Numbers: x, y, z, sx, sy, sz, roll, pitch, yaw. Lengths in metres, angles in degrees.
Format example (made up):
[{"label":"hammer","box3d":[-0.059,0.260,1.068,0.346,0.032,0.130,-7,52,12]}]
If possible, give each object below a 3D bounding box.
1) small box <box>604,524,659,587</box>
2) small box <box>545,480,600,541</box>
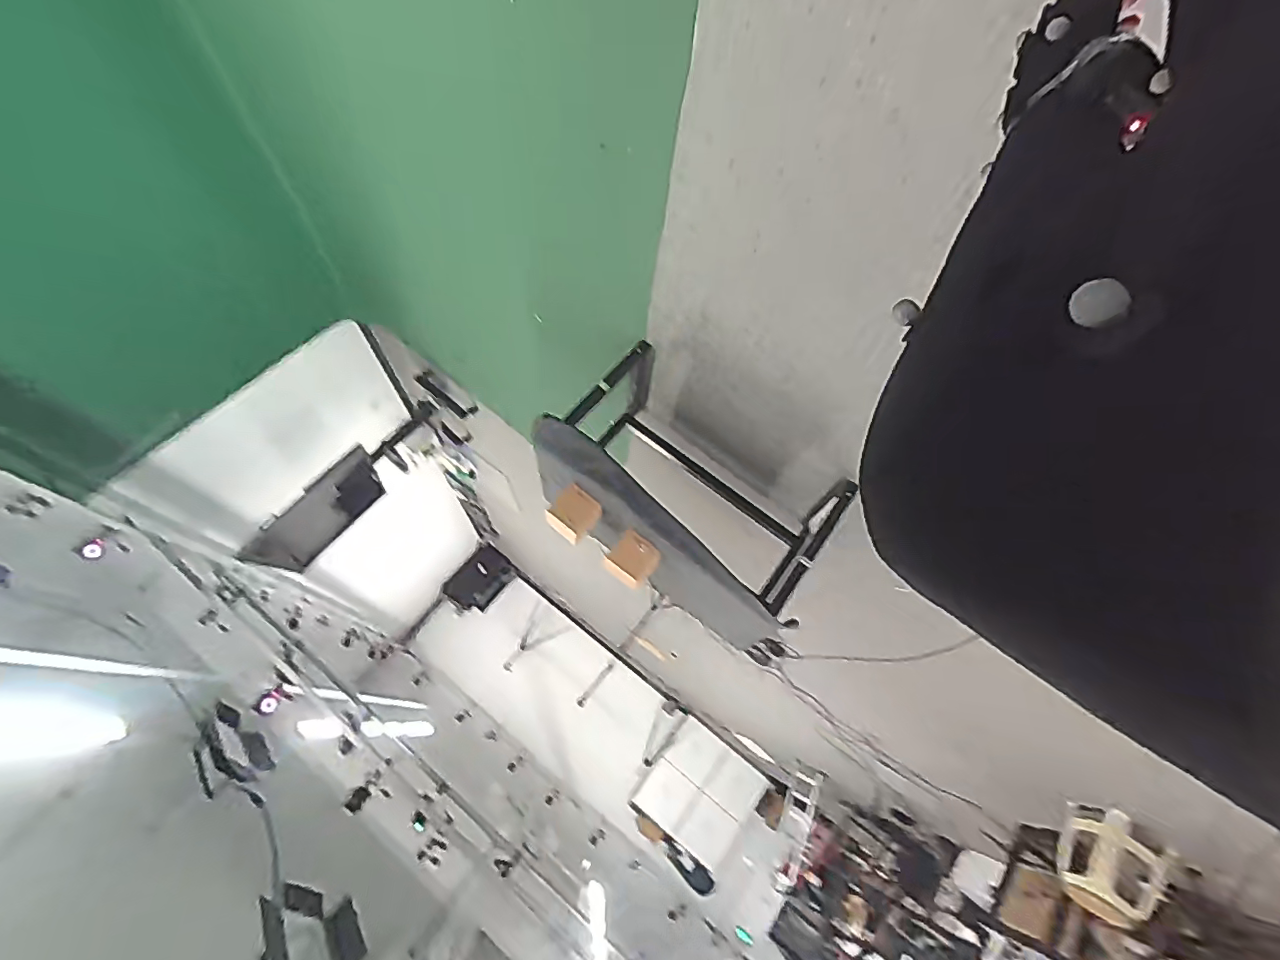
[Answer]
[{"label":"small box","box3d":[-0.036,0.313,2.257,0.168,0.176,0.179,34,157,13]},{"label":"small box","box3d":[-0.287,0.130,2.313,0.168,0.176,0.179,37,158,8]}]
